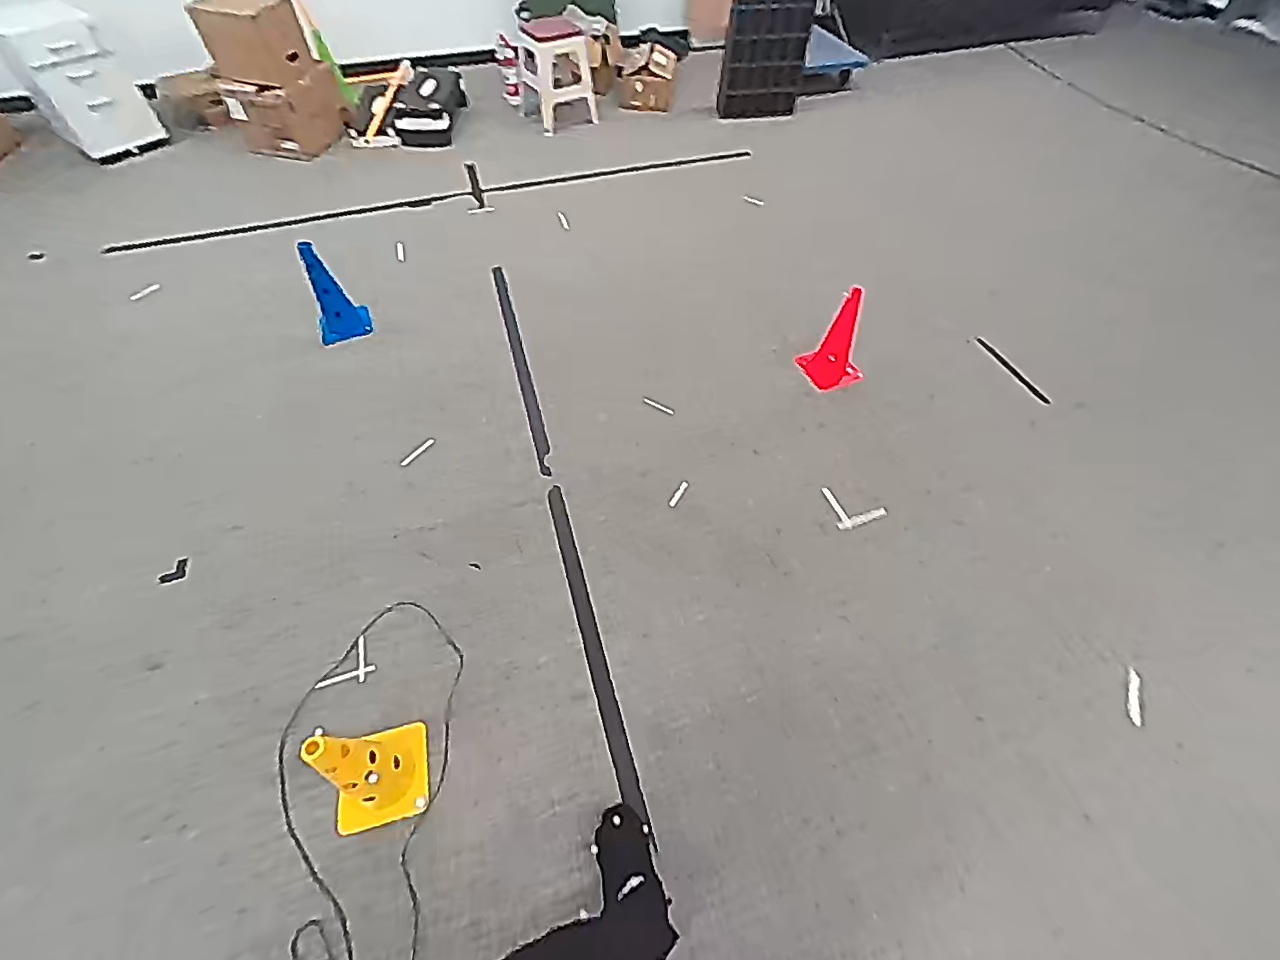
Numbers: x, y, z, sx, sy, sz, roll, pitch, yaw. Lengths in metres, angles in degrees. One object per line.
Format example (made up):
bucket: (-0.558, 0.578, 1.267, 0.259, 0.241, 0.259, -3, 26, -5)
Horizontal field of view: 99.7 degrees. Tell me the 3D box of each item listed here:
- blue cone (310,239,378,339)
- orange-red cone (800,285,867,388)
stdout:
blue cone: (-1.195, -0.757, 2.115, 0.192, 0.380, 0.193, -18, 56, -13)
orange-red cone: (0.745, -0.543, 1.963, 0.198, 0.360, 0.199, -17, 54, -13)
